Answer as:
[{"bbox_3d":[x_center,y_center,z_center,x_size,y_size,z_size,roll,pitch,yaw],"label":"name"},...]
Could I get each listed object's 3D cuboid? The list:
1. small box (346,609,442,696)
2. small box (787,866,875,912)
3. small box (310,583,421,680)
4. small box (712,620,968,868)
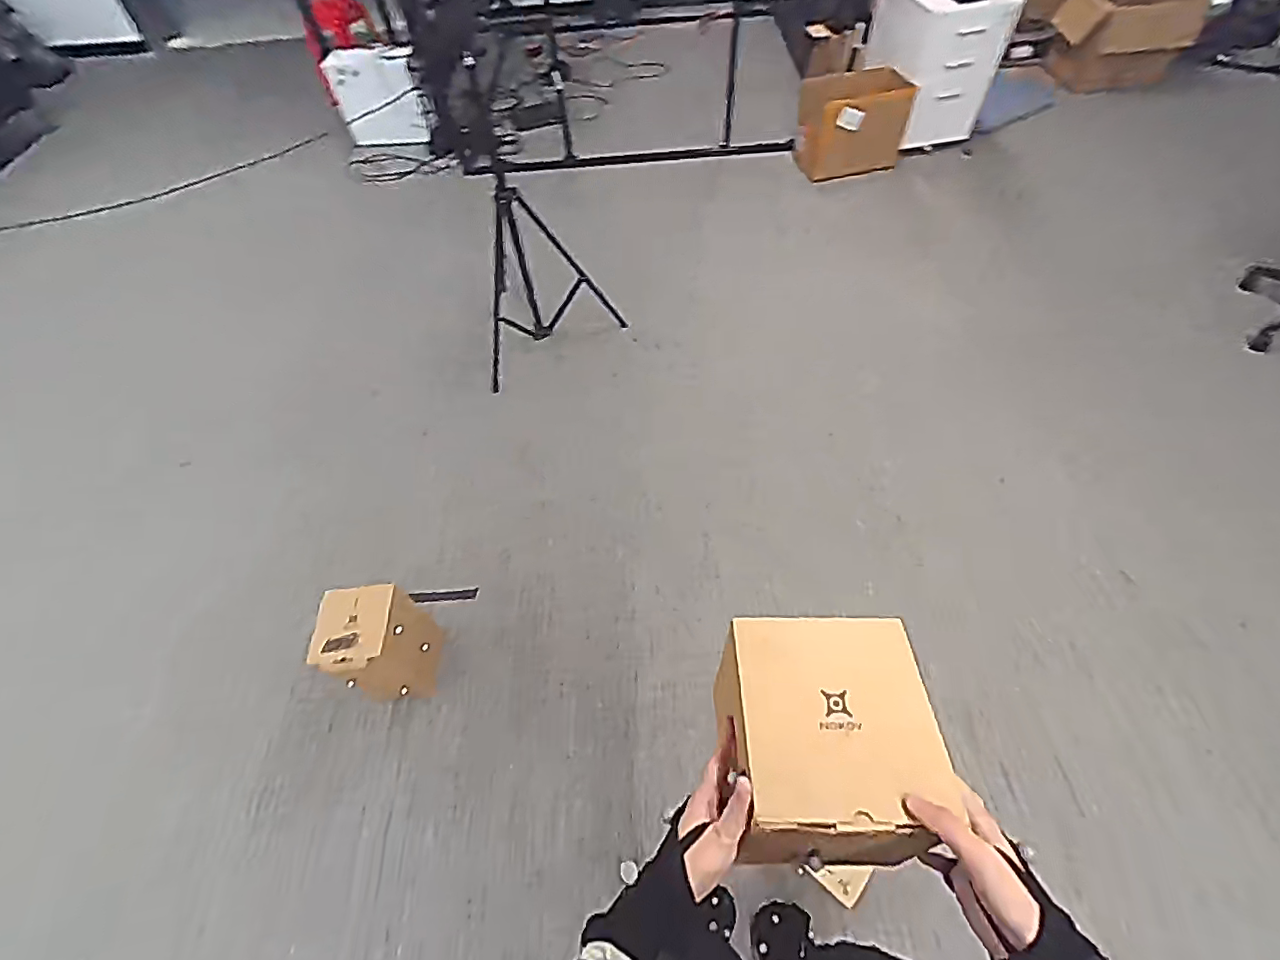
[{"bbox_3d":[-0.634,0.457,1.418,0.168,0.176,0.179,-6,55,-1],"label":"small box"},{"bbox_3d":[0.391,0.757,1.142,0.168,0.176,0.179,36,65,24],"label":"small box"},{"bbox_3d":[-0.638,0.365,1.281,0.168,0.176,0.179,-6,55,0],"label":"small box"},{"bbox_3d":[0.165,0.254,0.522,0.168,0.176,0.179,0,47,-1],"label":"small box"}]
